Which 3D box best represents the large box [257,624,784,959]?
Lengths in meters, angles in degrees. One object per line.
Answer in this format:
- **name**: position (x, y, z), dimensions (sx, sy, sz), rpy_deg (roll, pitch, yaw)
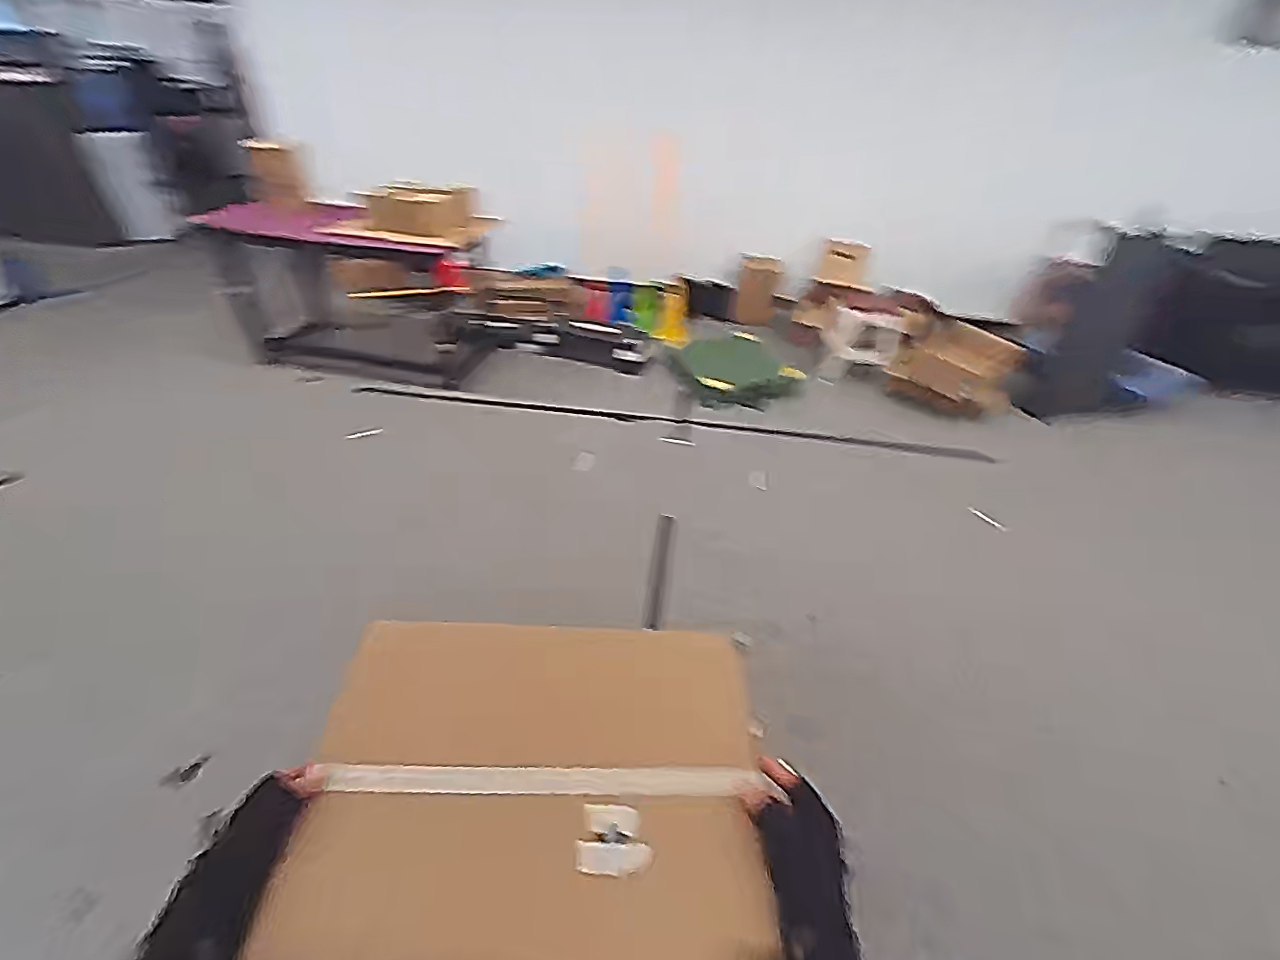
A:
- **large box**: position (-0.103, 0.381, 0.603), dimensions (0.408, 0.320, 0.320), rpy_deg (4, 45, -5)
